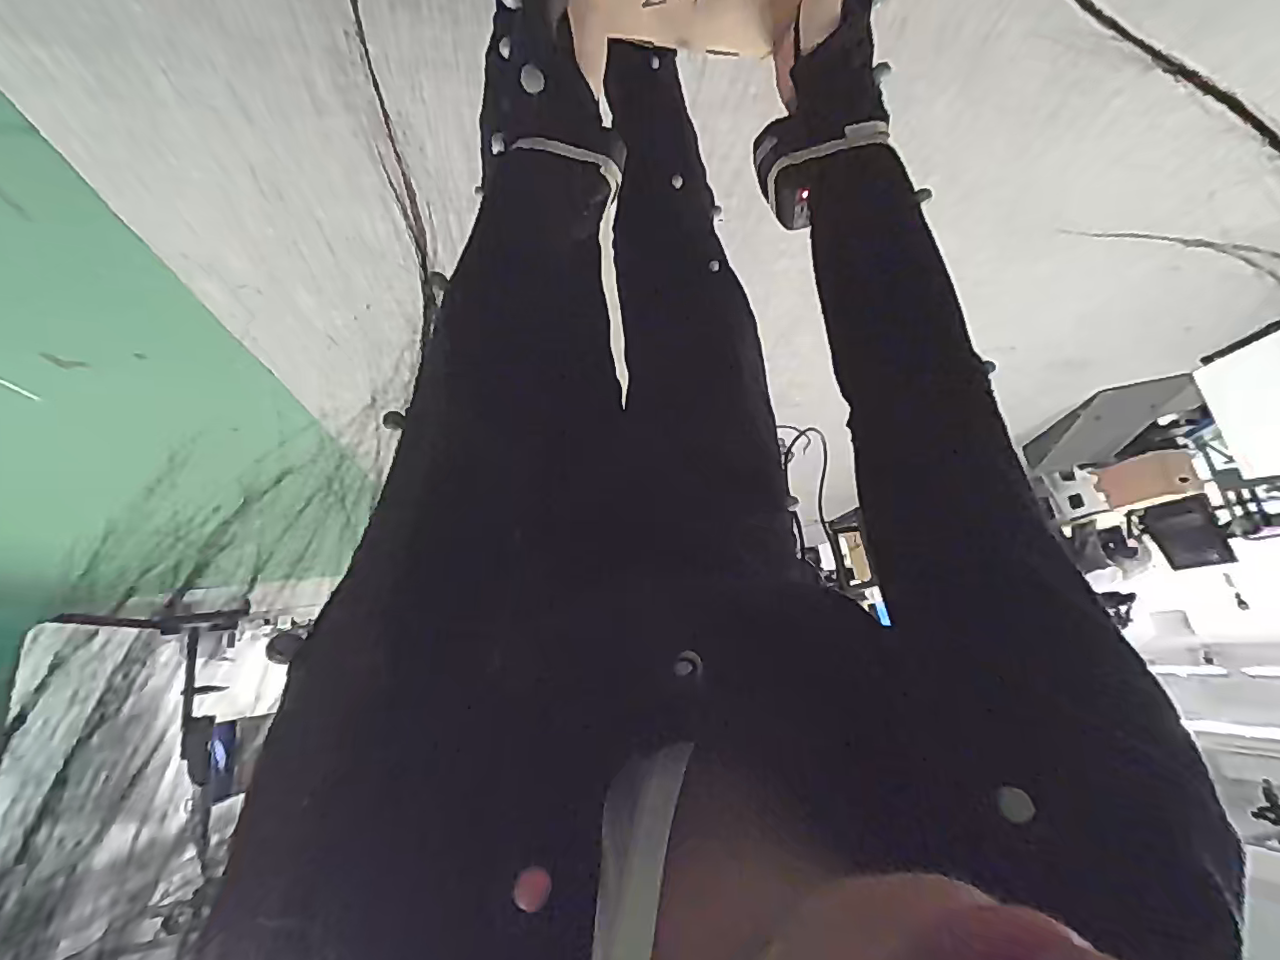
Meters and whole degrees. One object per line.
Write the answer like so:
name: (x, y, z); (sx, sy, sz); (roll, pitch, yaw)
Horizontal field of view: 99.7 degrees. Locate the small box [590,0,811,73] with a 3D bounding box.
small box: (0.047, -0.446, 0.384); (0.168, 0.176, 0.179); (-4, 161, -16)
